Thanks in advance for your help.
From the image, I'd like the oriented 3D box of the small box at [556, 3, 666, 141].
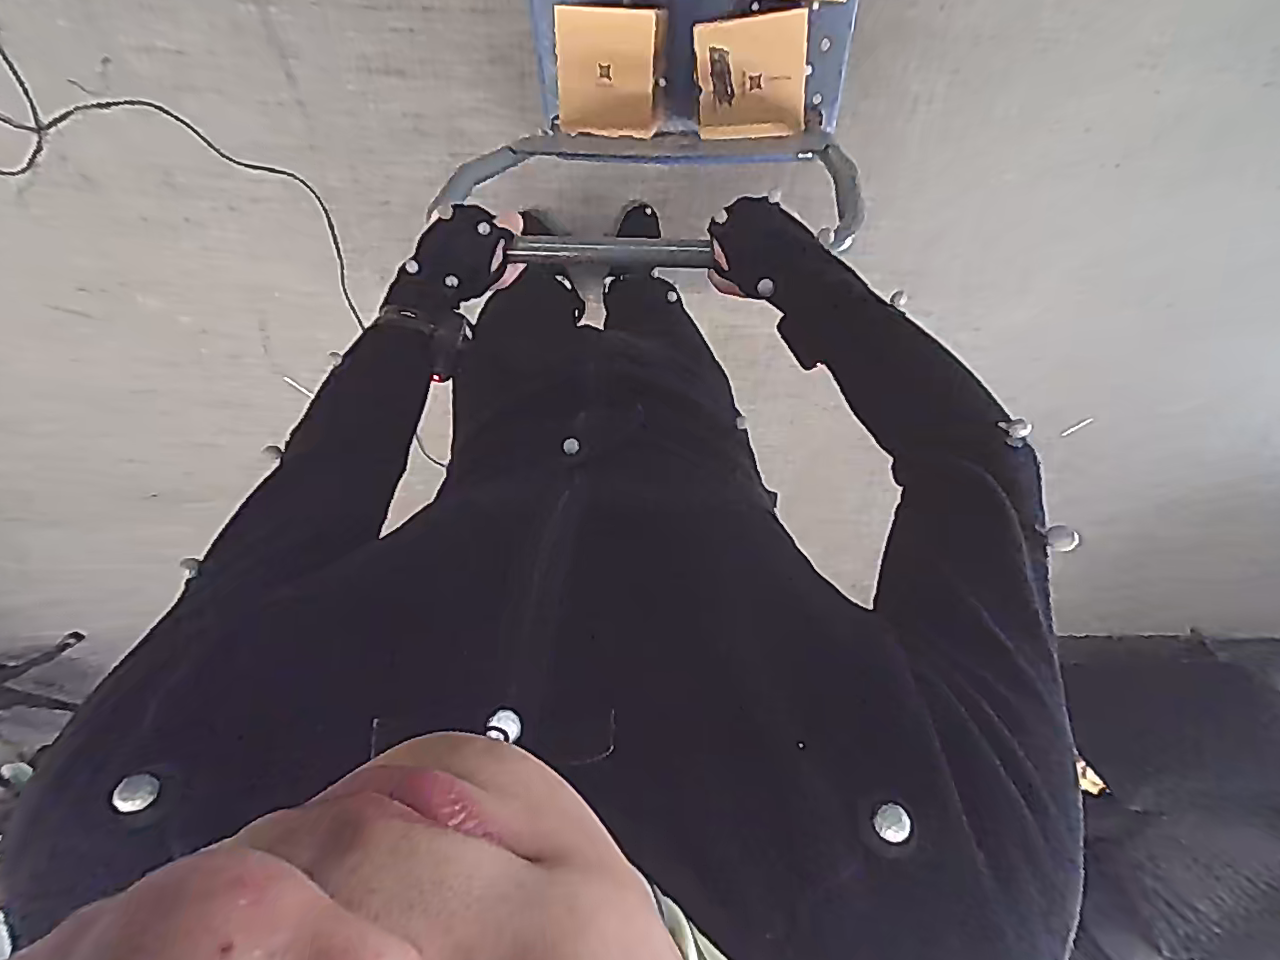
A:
[{"bbox_3d":[-0.046,-0.729,0.963,0.168,0.176,0.179,8,134,5],"label":"small box"}]
